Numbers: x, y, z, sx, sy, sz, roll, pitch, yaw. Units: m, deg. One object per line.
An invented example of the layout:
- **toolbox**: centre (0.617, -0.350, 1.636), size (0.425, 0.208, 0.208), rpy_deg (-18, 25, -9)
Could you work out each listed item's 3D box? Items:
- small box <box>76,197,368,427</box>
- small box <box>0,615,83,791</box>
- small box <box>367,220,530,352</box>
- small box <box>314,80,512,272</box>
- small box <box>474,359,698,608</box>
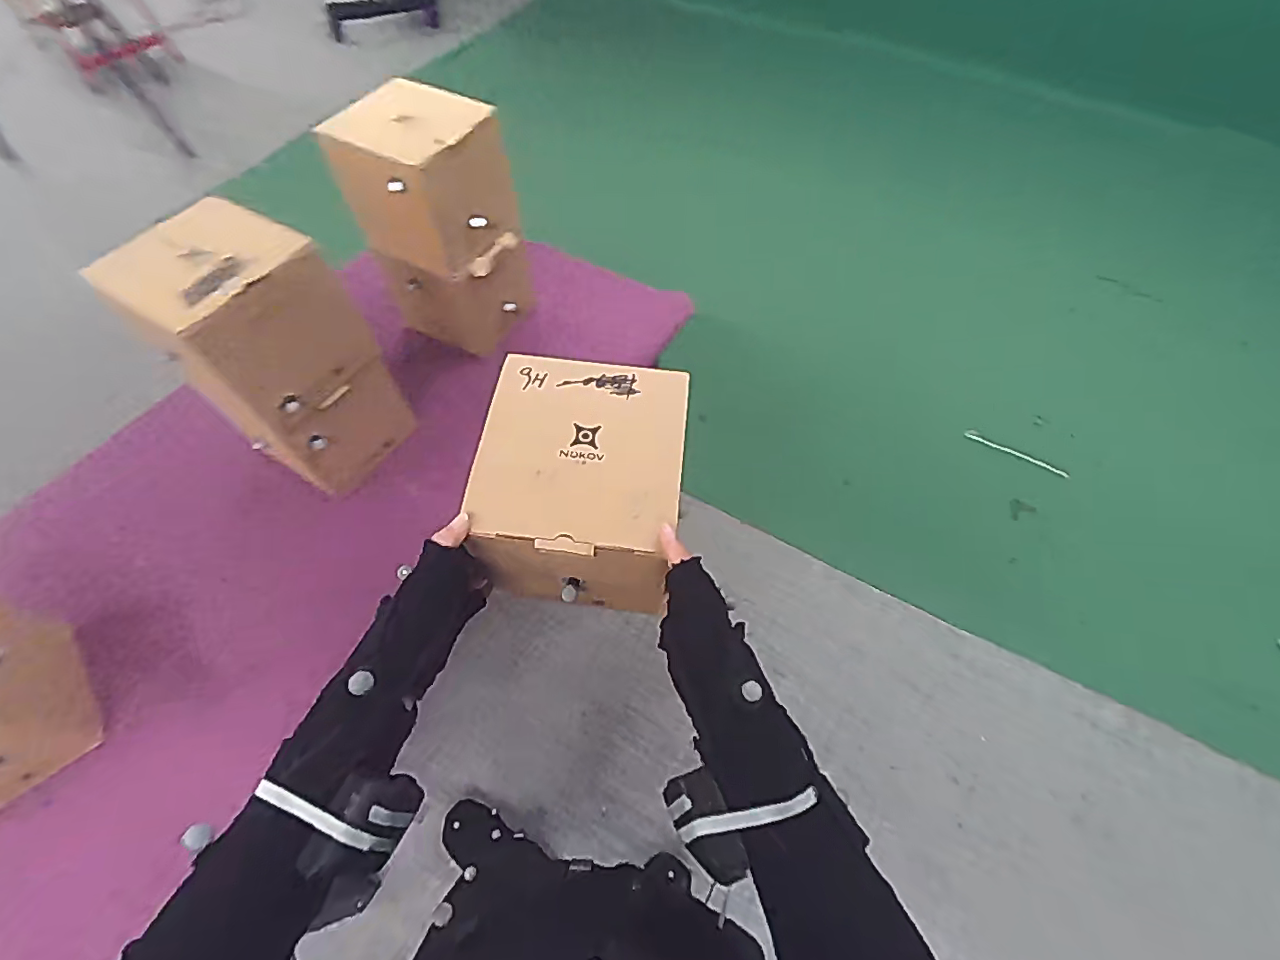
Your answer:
- **small box**: centre (-0.465, -0.188, 0.635), size (0.179, 0.176, 0.168), rpy_deg (27, 62, 16)
- **small box**: centre (-0.737, 0.243, 0.550), size (0.168, 0.176, 0.179), rpy_deg (-36, 66, -20)
- **small box**: centre (-0.312, -0.347, 0.921), size (0.179, 0.176, 0.168), rpy_deg (25, 63, 13)
- **small box**: centre (-0.312, -0.433, 0.783), size (0.179, 0.176, 0.168), rpy_deg (25, 62, 13)
- **small box**: centre (-0.037, 0.012, 0.508), size (0.168, 0.176, 0.179), rpy_deg (4, 61, 1)
